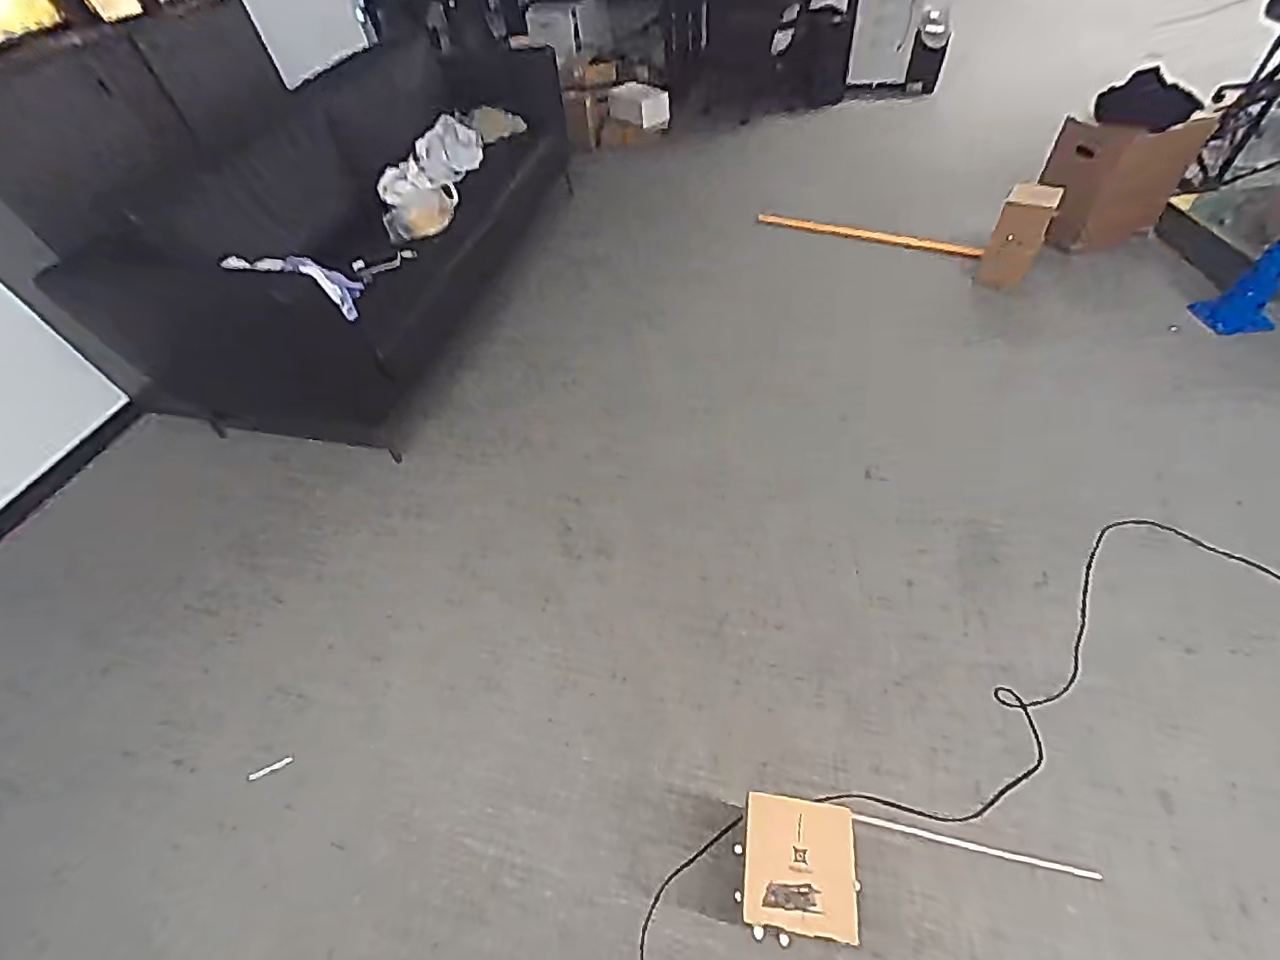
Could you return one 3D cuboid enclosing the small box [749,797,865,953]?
[{"bbox_3d":[0.269,0.655,0.899,0.168,0.176,0.179,3,50,12],"label":"small box"}]
